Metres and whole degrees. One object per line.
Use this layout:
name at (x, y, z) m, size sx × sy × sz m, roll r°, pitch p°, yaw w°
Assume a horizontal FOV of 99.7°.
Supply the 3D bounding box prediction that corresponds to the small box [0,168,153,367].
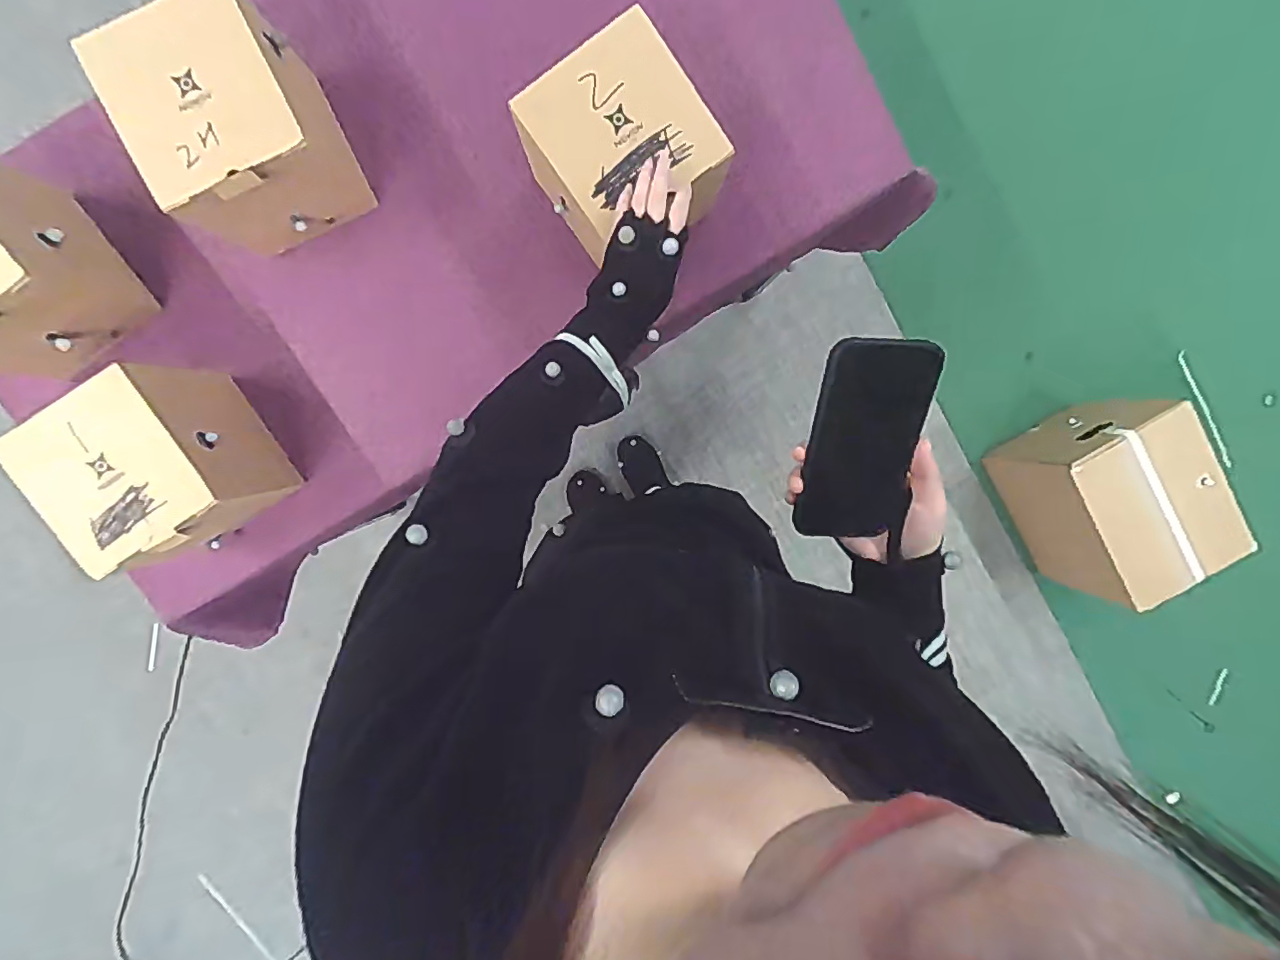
small box at (-0.736, -0.244, 0.621) m, size 0.168 × 0.176 × 0.179 m, roll -36°, pitch 98°, yaw 2°

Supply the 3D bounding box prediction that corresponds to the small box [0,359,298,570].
small box at (-0.568, -0.023, 0.654) m, size 0.168 × 0.176 × 0.179 m, roll -32°, pitch 96°, yaw 1°

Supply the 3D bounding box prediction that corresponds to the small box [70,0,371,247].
small box at (-0.448, -0.399, 0.612) m, size 0.168 × 0.176 × 0.179 m, roll -24°, pitch 98°, yaw 1°
